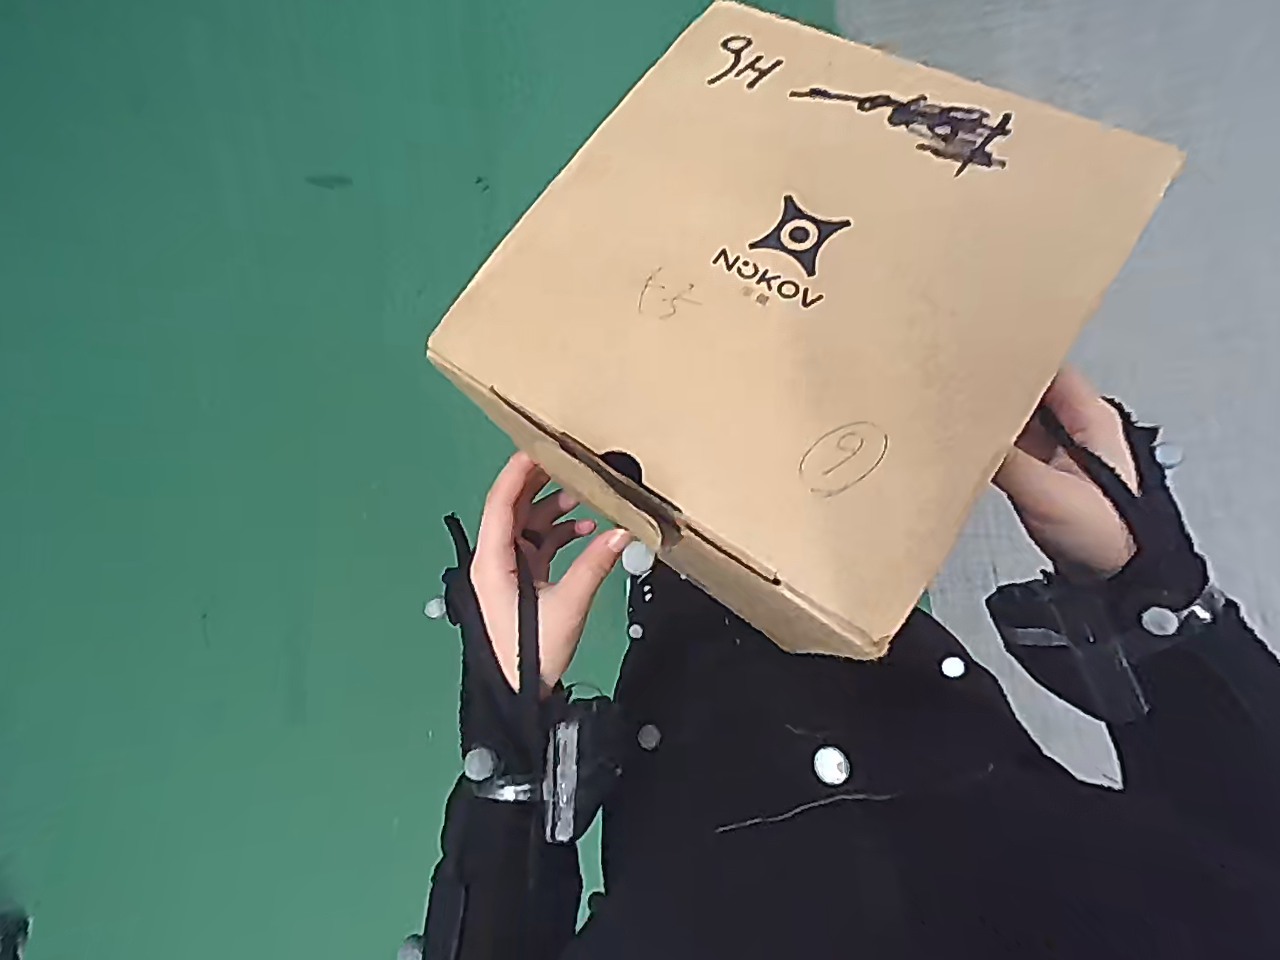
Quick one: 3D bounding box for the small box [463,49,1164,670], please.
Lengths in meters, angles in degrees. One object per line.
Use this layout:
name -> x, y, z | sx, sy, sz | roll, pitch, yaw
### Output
small box -> 0.062, -0.036, 0.255 | 0.168, 0.176, 0.179 | 35, 81, 16
